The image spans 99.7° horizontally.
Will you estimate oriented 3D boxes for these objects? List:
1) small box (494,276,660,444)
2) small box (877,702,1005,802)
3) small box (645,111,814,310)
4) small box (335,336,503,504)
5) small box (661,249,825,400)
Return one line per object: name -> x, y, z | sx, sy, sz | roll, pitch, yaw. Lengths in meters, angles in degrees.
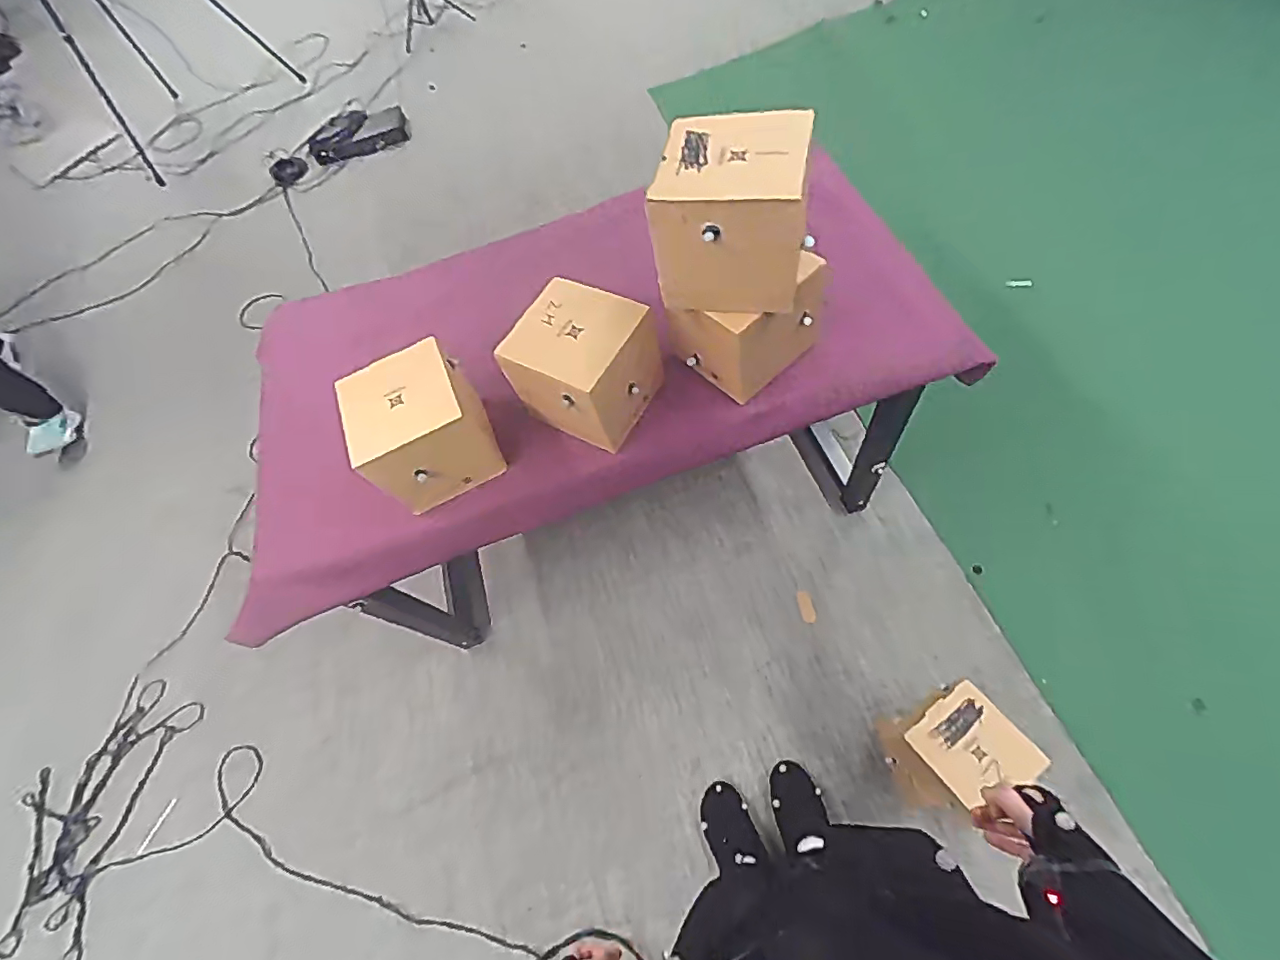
small box -> -0.085, -0.179, 0.843 | 0.179, 0.176, 0.168 | 25, 70, 21
small box -> 0.626, 0.582, 1.158 | 0.179, 0.176, 0.168 | -11, 63, 5
small box -> 0.121, -0.341, 0.702 | 0.179, 0.176, 0.168 | 8, 64, 15
small box -> -0.336, -0.082, 0.844 | 0.168, 0.176, 0.179 | -27, 61, -3
small box -> 0.157, -0.261, 0.840 | 0.179, 0.176, 0.168 | -41, 62, -10
